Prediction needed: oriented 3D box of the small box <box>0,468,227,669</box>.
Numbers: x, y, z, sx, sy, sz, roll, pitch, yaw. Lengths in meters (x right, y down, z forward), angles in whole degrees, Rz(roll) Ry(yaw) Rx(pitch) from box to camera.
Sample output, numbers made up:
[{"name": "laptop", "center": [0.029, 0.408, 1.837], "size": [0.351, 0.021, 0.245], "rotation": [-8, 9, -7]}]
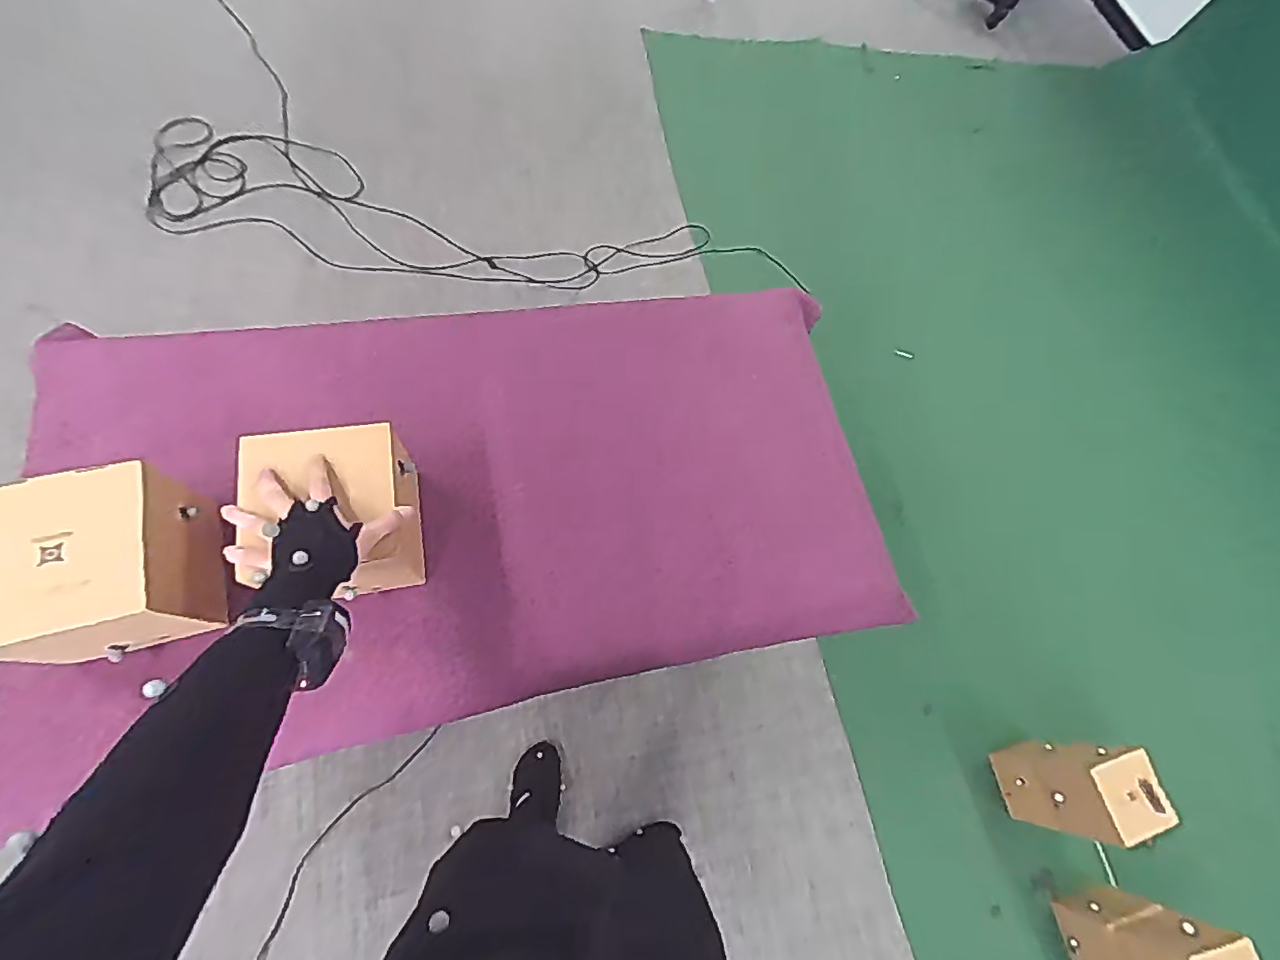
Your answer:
[{"name": "small box", "center": [-0.620, 0.109, 0.632], "size": [0.168, 0.176, 0.179], "rotation": [-13, 72, -15]}]

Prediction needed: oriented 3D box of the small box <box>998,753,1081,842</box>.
[{"name": "small box", "center": [1.113, 0.849, 1.460], "size": [0.179, 0.176, 0.168], "rotation": [-7, 70, -14]}]

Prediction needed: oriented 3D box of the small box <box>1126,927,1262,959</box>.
[{"name": "small box", "center": [1.247, 1.130, 1.192], "size": [0.179, 0.176, 0.168], "rotation": [-4, 70, -12]}]

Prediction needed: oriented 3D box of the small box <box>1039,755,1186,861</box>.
[{"name": "small box", "center": [1.133, 0.781, 1.310], "size": [0.179, 0.176, 0.168], "rotation": [-10, 70, -13]}]

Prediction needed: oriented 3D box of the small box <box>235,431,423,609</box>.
[{"name": "small box", "center": [-0.384, 0.057, 0.697], "size": [0.168, 0.176, 0.179], "rotation": [-7, 71, -13]}]
